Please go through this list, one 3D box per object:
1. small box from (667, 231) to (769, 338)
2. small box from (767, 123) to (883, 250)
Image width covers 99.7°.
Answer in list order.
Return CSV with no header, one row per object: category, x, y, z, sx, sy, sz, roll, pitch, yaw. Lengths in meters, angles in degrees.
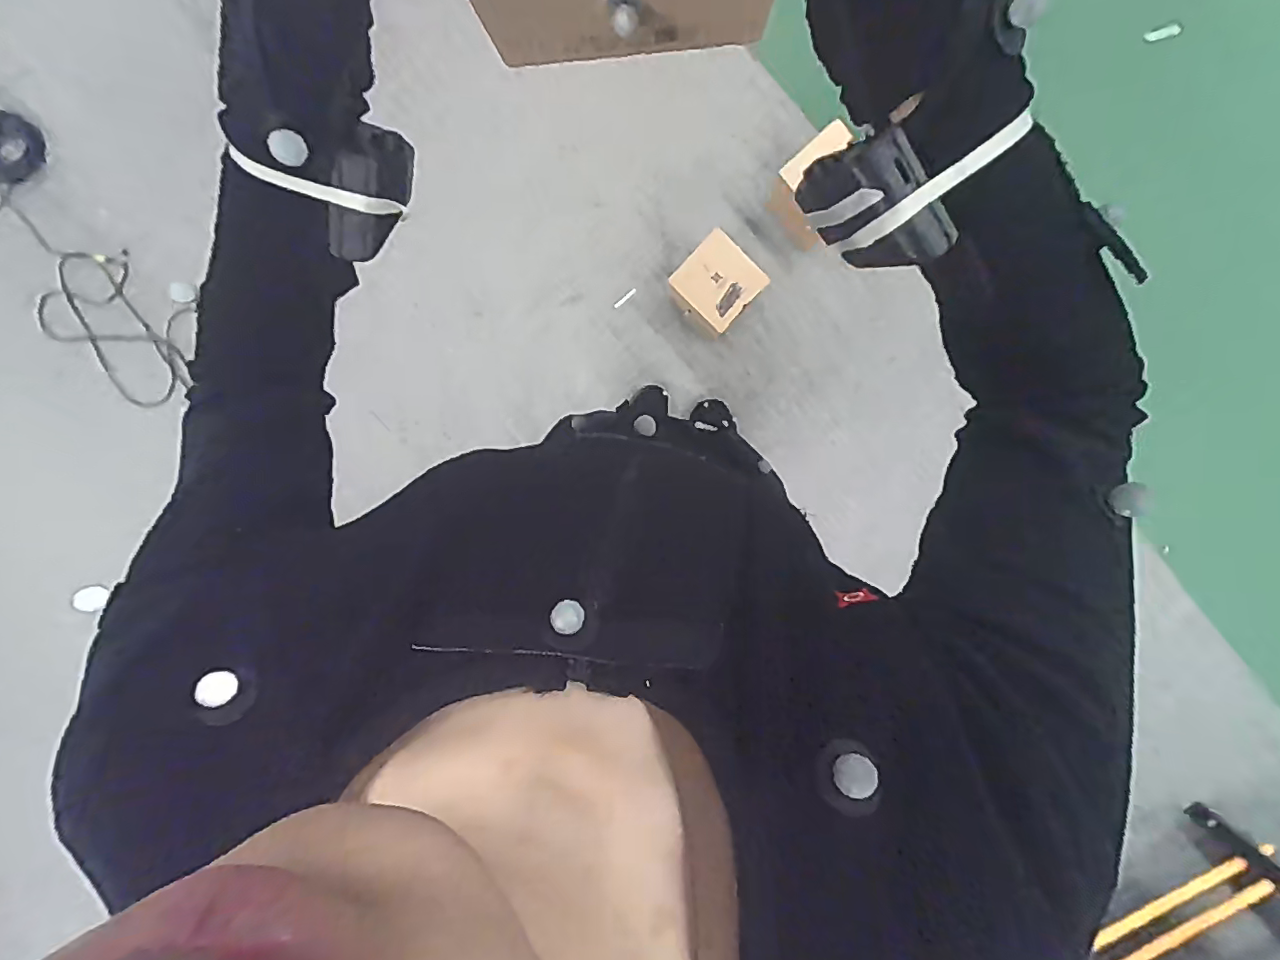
small box,0.184,-0.464,1.317,0.179,0.176,0.168,44,98,-3
small box,0.423,-0.677,1.273,0.168,0.176,0.179,-41,95,9
